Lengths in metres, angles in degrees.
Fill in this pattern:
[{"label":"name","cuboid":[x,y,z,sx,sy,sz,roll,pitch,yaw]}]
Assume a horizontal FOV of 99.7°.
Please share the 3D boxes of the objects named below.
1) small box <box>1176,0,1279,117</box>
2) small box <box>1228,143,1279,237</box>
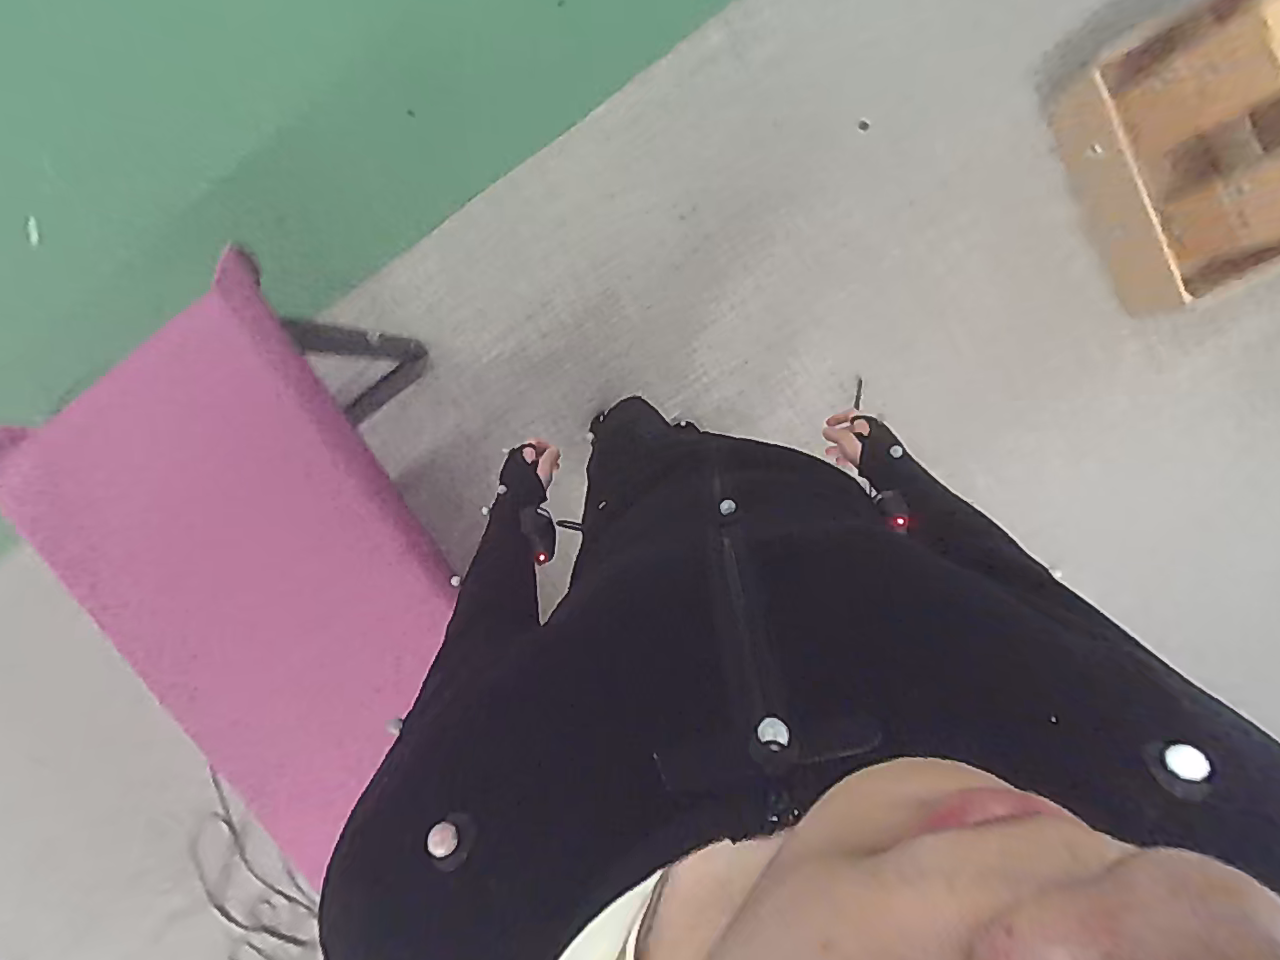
[{"label":"small box","cuboid":[1.254,-0.881,1.080,0.179,0.176,0.168,-28,97,7]},{"label":"small box","cuboid":[1.384,-0.633,1.111,0.179,0.176,0.168,-26,95,6]}]
